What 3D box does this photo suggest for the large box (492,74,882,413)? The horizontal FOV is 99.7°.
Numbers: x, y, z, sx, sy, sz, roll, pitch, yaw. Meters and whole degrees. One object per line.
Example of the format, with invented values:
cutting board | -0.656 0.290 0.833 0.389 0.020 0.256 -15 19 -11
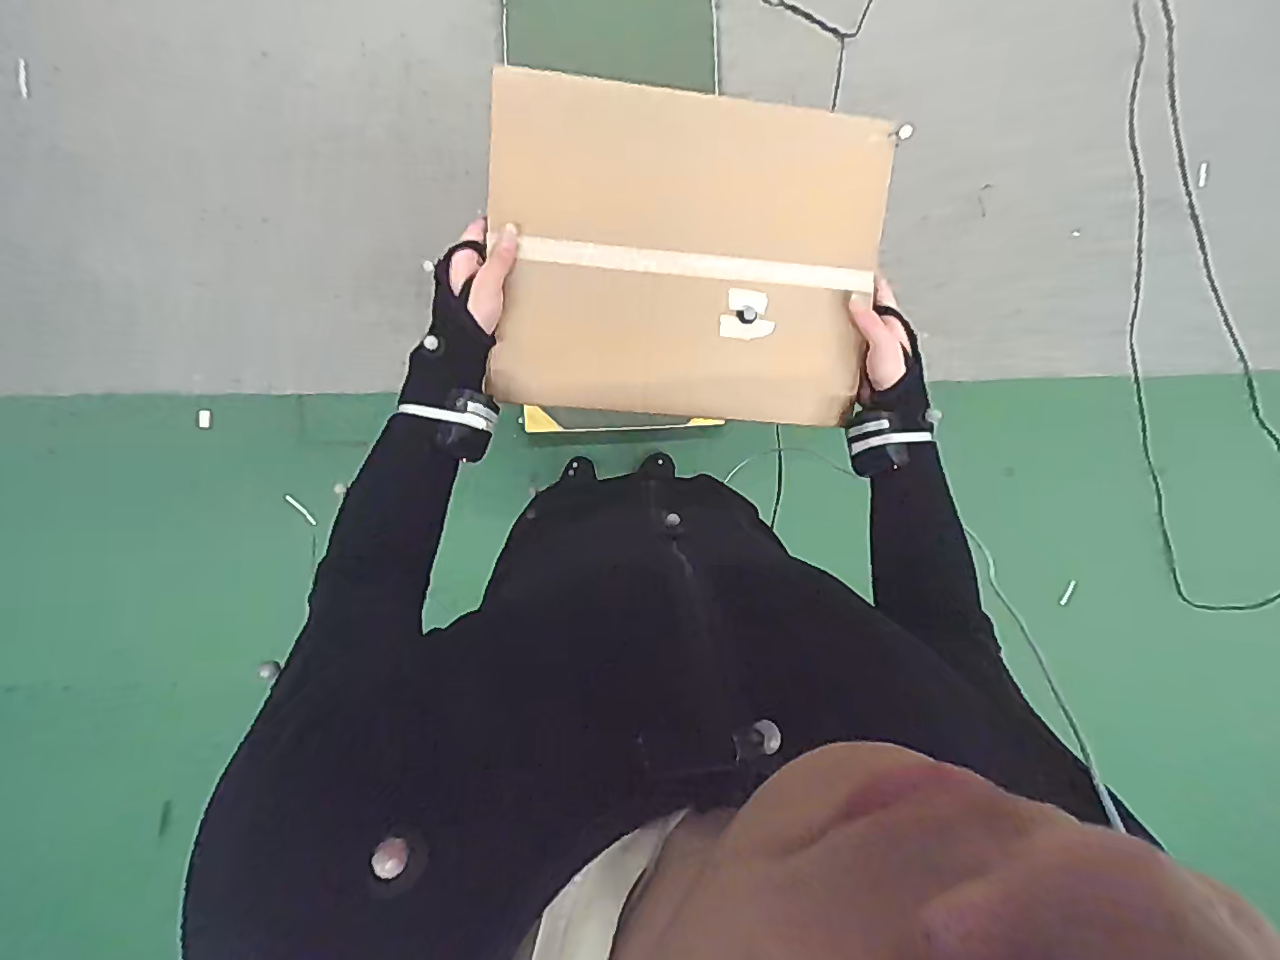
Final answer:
large box | 0.030 -0.262 0.712 0.408 0.320 0.320 3 102 -7
